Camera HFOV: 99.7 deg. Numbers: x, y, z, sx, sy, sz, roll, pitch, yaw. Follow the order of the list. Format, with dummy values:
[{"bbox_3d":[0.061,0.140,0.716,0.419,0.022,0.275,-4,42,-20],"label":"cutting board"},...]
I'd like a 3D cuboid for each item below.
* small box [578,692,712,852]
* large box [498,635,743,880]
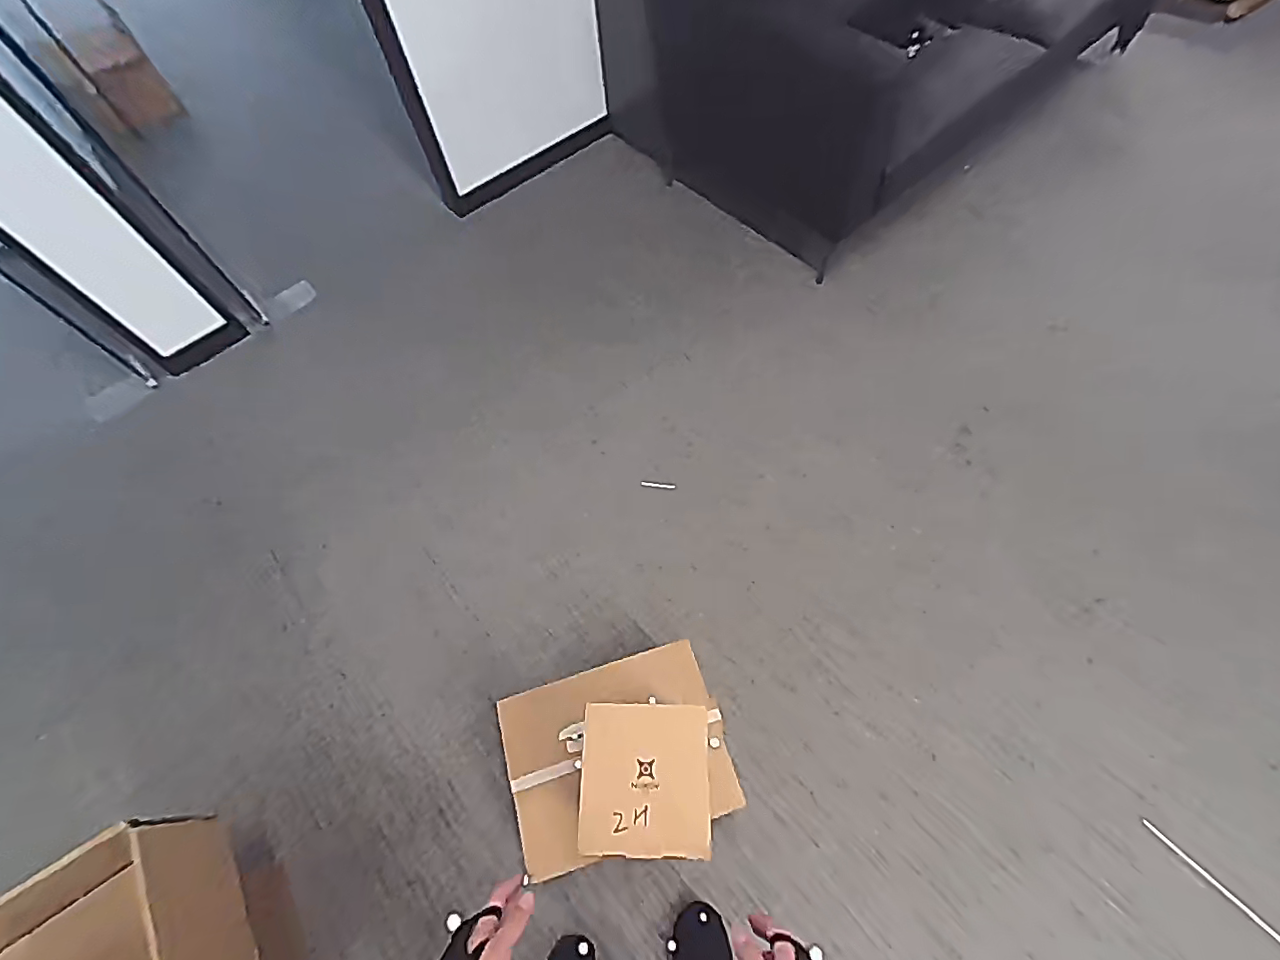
[{"bbox_3d":[0.012,0.402,0.760,0.168,0.176,0.179,0,64,4],"label":"small box"},{"bbox_3d":[-0.037,0.565,1.142,0.408,0.320,0.320,-17,62,-5],"label":"large box"}]
